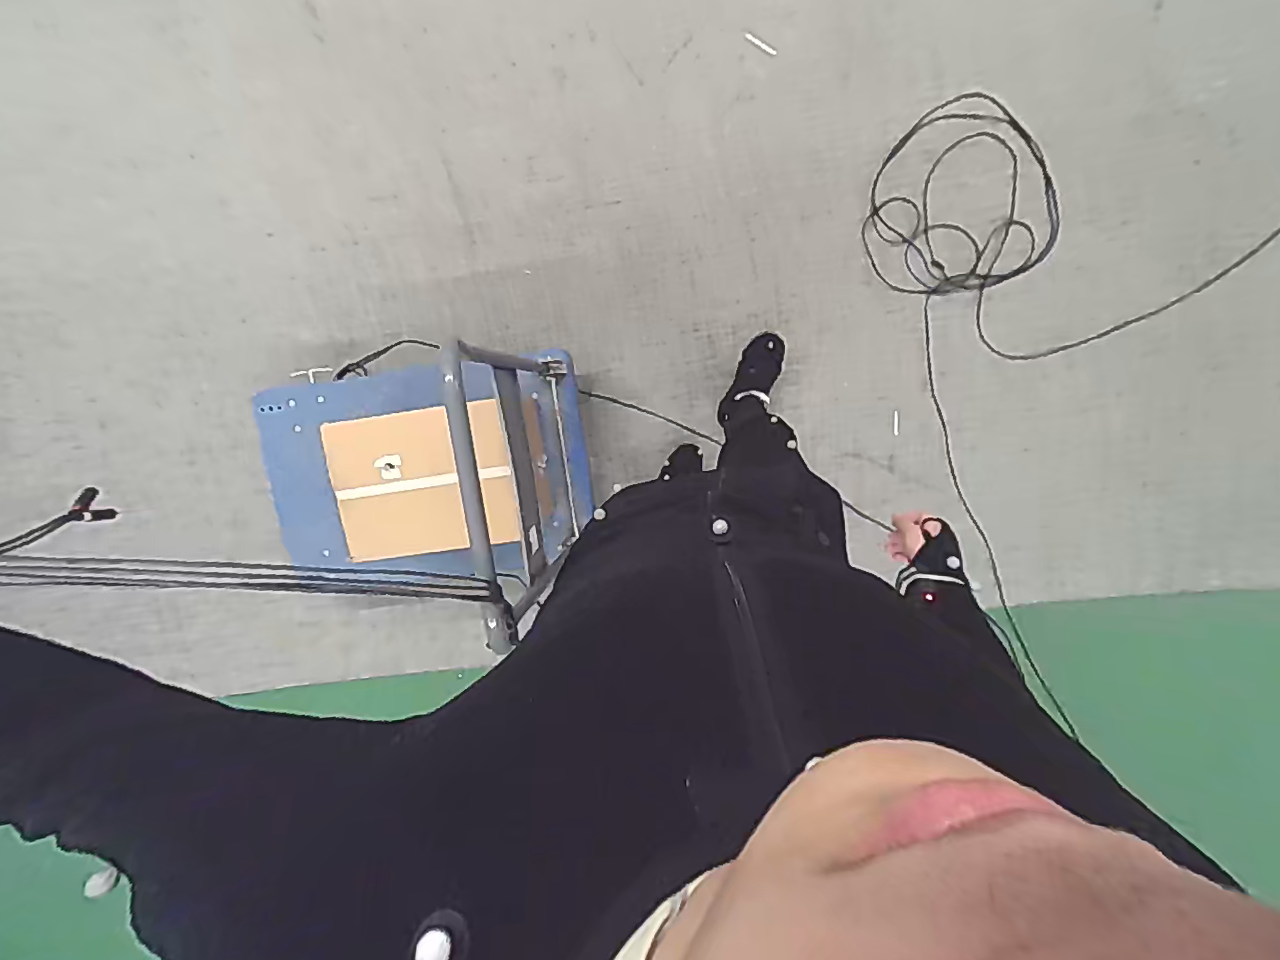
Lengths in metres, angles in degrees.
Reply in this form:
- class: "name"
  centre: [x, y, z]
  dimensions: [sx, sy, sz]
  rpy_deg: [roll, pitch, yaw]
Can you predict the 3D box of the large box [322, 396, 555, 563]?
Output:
- class: "large box"
  centre: [-0.455, -0.017, 1.307]
  dimensions: [0.408, 0.320, 0.320]
  rpy_deg: [-8, 98, 4]
